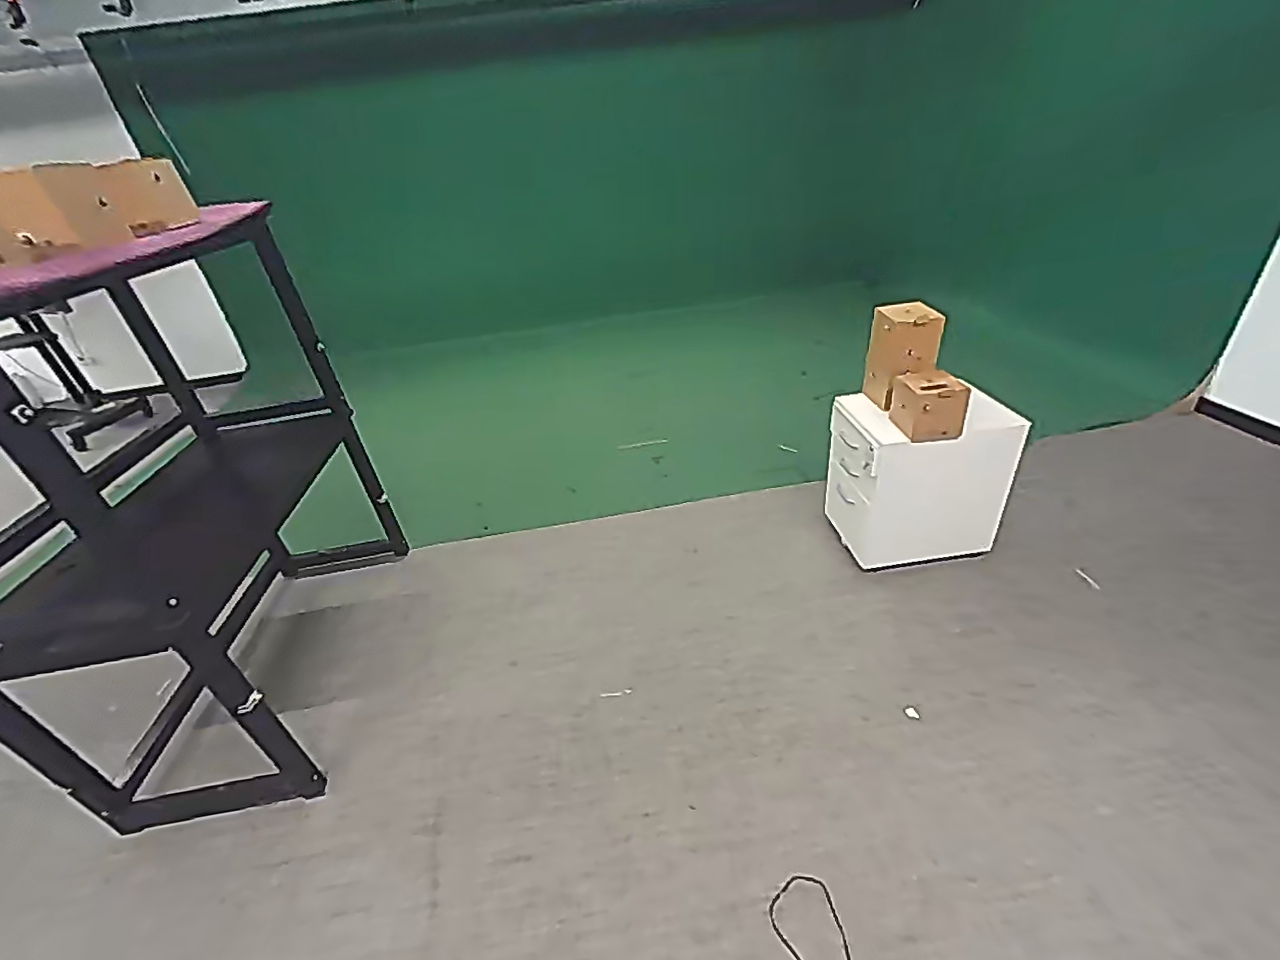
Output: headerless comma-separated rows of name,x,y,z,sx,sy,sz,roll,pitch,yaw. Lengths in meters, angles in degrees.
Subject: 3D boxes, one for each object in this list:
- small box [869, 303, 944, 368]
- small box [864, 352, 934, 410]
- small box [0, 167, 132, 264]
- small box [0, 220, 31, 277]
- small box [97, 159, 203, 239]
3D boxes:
small box,0.933,-0.510,1.912,0.168,0.176,0.179,-7,35,-1
small box,0.948,-0.375,2.001,0.168,0.176,0.179,-9,33,-2
small box,-1.298,-0.587,1.201,0.168,0.176,0.179,-11,34,-4
small box,-1.246,-0.423,0.930,0.179,0.176,0.168,-10,32,-4
small box,-1.369,-0.769,1.490,0.168,0.176,0.179,-11,33,-1
